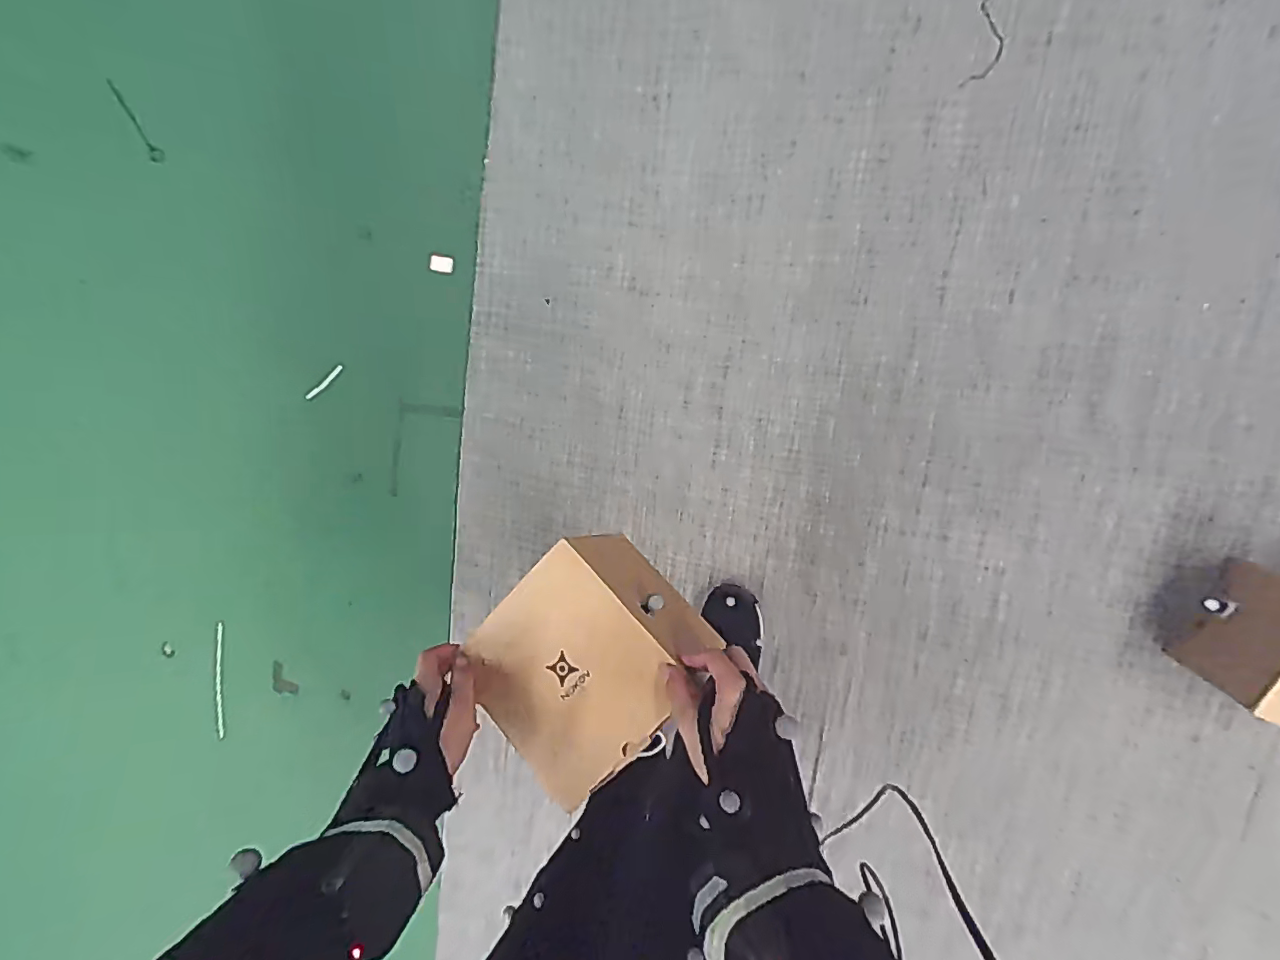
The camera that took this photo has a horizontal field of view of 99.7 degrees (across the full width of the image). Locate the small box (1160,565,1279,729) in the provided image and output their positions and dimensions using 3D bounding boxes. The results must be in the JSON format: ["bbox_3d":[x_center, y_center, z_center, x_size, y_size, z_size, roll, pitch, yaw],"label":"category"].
[{"bbox_3d":[0.838,0.227,0.679,0.179,0.176,0.168,26,103,12],"label":"small box"}]

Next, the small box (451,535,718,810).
[{"bbox_3d":[-0.043,0.173,0.547,0.179,0.176,0.168,45,98,14],"label":"small box"}]
